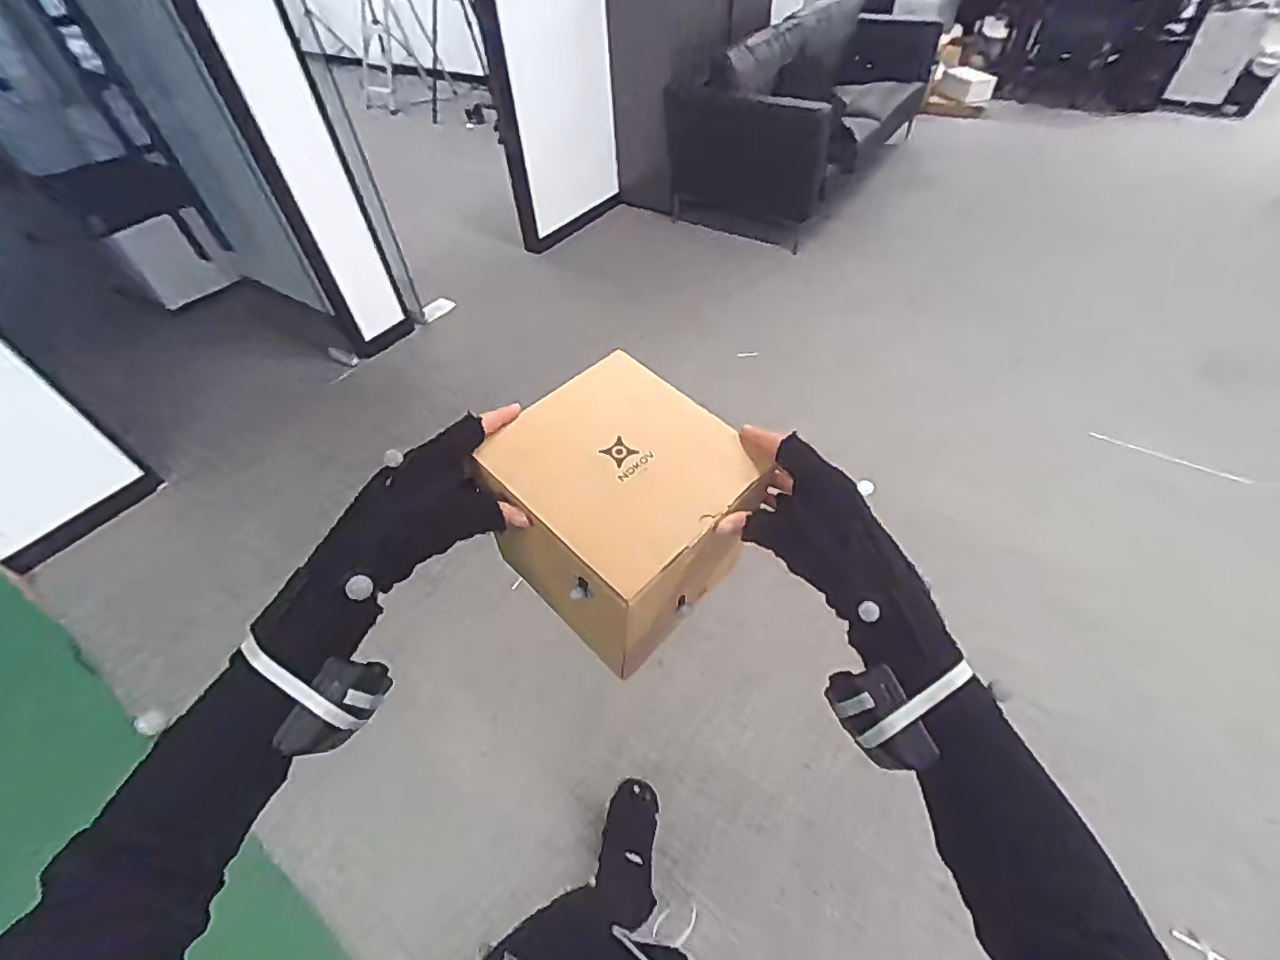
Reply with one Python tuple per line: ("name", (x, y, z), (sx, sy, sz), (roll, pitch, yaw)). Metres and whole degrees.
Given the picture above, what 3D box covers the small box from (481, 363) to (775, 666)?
("small box", (-0.014, 0.034, 0.487), (0.179, 0.176, 0.168), (40, 61, 22))
